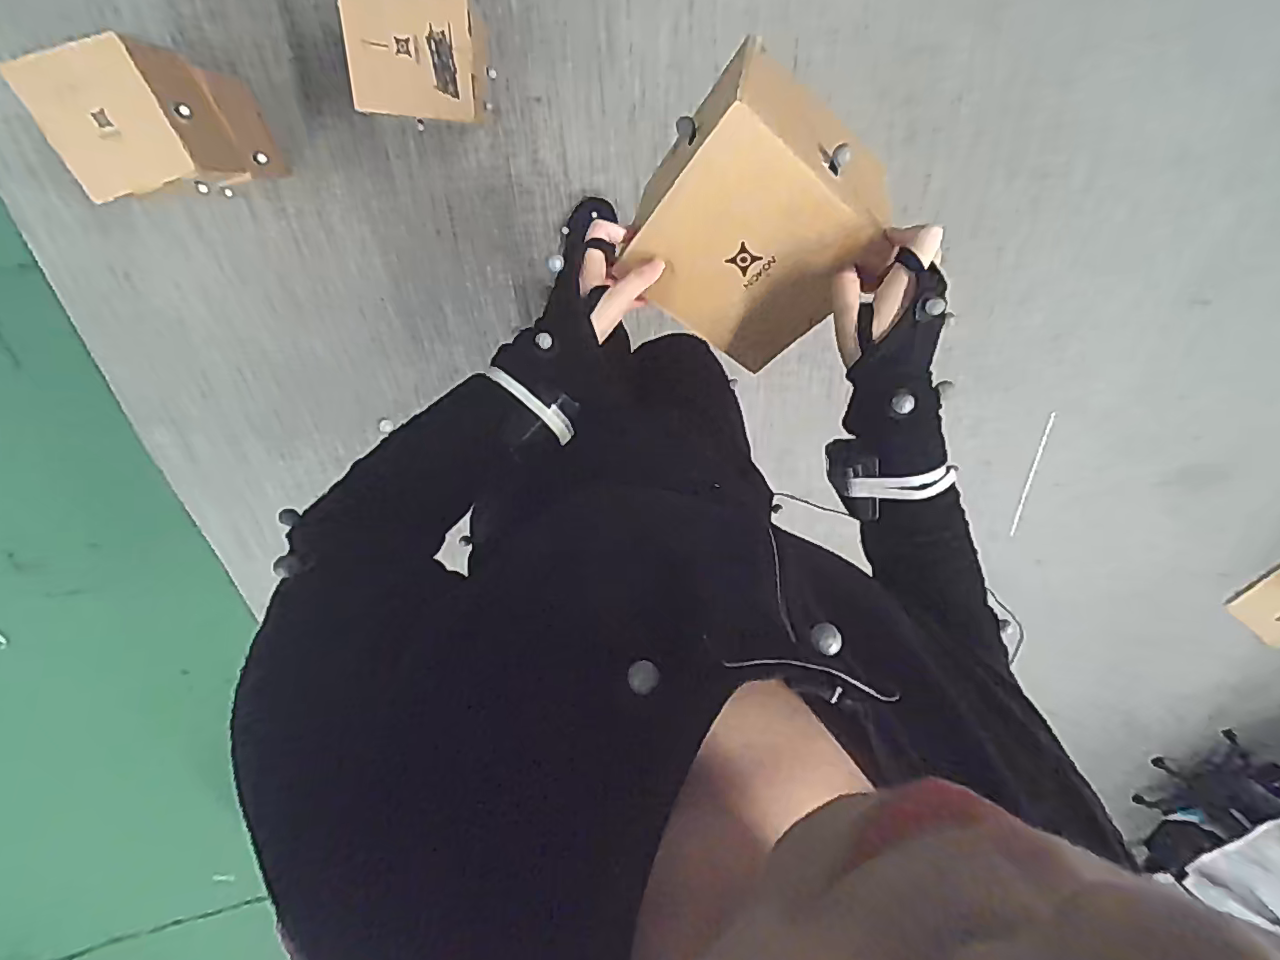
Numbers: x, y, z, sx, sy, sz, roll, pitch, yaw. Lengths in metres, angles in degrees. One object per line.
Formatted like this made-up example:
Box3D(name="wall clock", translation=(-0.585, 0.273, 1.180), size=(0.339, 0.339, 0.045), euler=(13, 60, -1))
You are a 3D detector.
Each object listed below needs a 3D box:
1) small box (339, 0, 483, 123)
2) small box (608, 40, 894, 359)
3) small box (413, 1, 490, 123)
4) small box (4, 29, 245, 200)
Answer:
Box3D(name="small box", translation=(-0.342, -0.663, 0.842), size=(0.179, 0.176, 0.168), euler=(0, 121, -9))
Box3D(name="small box", translation=(0.098, -0.254, 0.495), size=(0.179, 0.176, 0.168), euler=(28, 141, -21))
Box3D(name="small box", translation=(-0.367, -0.754, 0.979), size=(0.179, 0.176, 0.168), euler=(-2, 120, -10))
Box3D(name="small box", translation=(-0.767, -0.553, 0.835), size=(0.168, 0.176, 0.179), euler=(-16, 121, -1))
